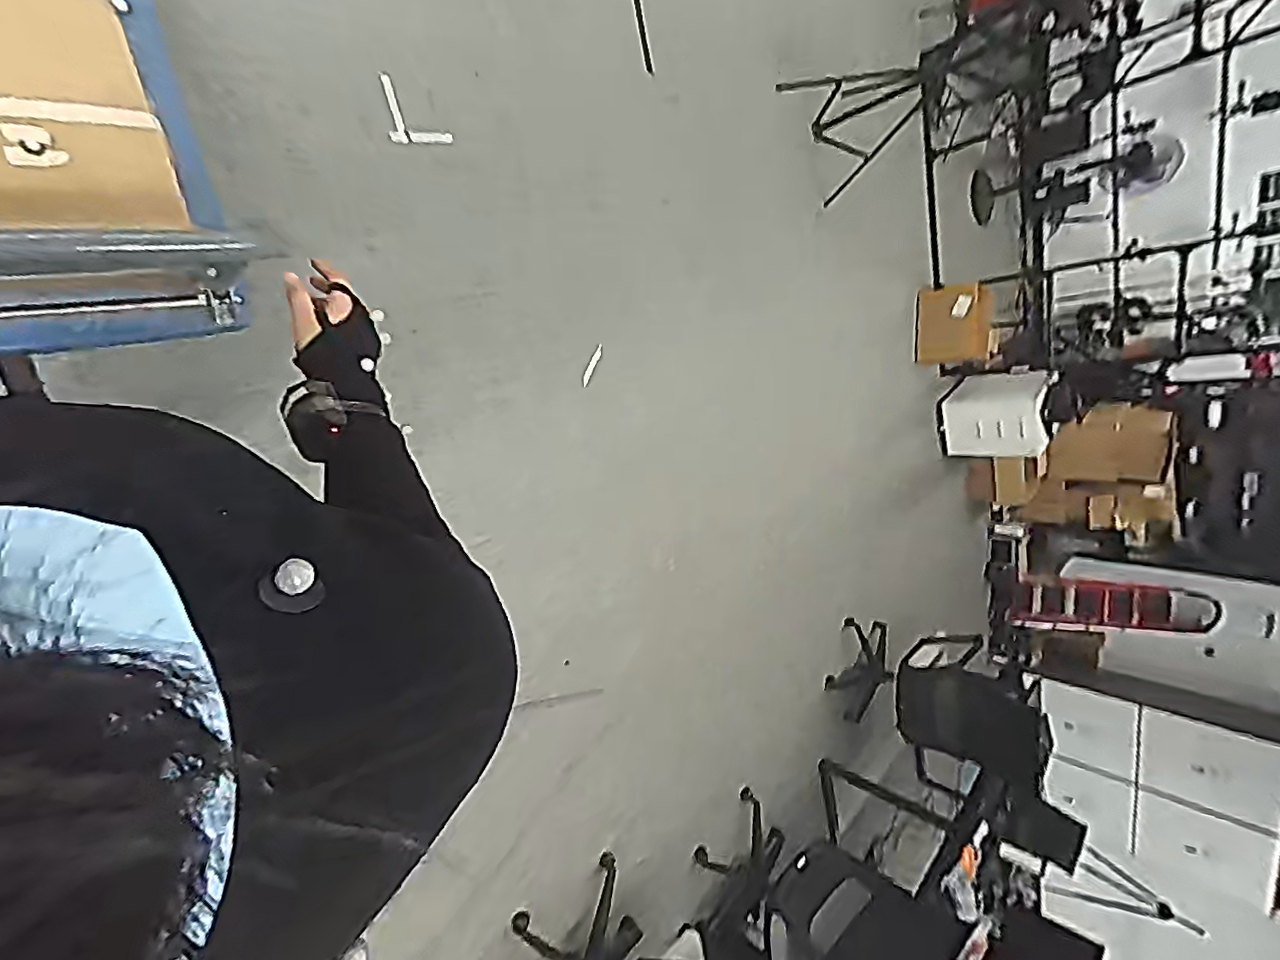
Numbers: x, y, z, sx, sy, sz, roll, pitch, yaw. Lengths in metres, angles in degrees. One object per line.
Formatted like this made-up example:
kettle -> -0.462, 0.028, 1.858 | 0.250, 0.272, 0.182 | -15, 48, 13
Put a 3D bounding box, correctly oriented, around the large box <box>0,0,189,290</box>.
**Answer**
large box -> -0.939, -0.454, 0.752 | 0.408, 0.320, 0.320 | -21, 108, -40
